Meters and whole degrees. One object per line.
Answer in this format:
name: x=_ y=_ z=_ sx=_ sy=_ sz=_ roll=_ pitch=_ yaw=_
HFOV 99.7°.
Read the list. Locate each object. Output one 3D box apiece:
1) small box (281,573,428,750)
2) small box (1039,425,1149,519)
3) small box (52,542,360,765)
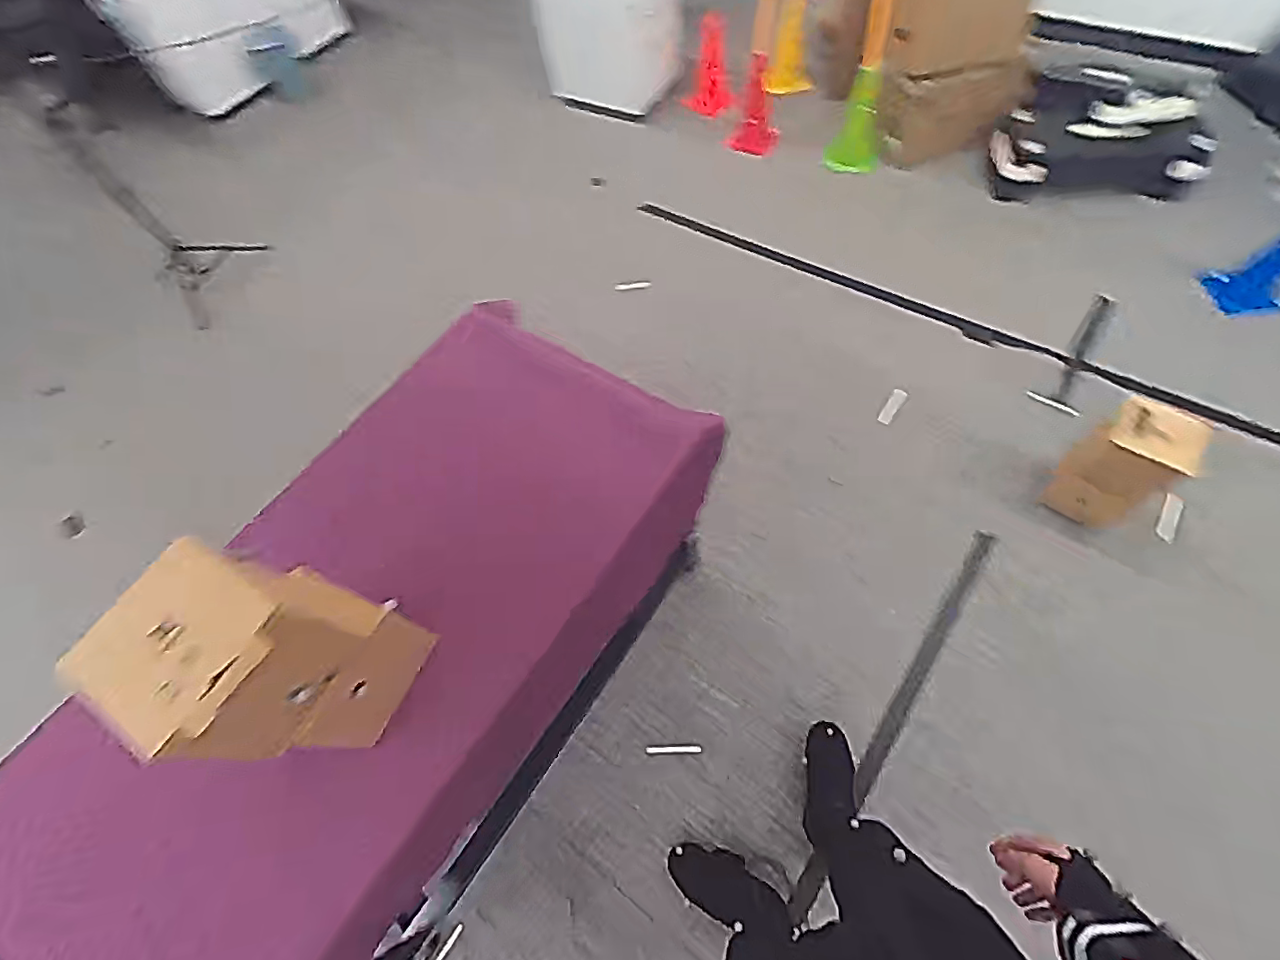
small box: x=-0.438 y=0.262 z=0.768 sx=0.168 sy=0.176 sz=0.179 roll=19 pitch=66 yaw=16
small box: x=1.271 y=-0.017 z=1.525 sx=0.168 sy=0.176 sz=0.179 roll=26 pitch=69 yaw=18
small box: x=-0.473 y=0.201 z=0.617 sx=0.179 sy=0.176 sz=0.168 roll=24 pitch=69 yaw=18
